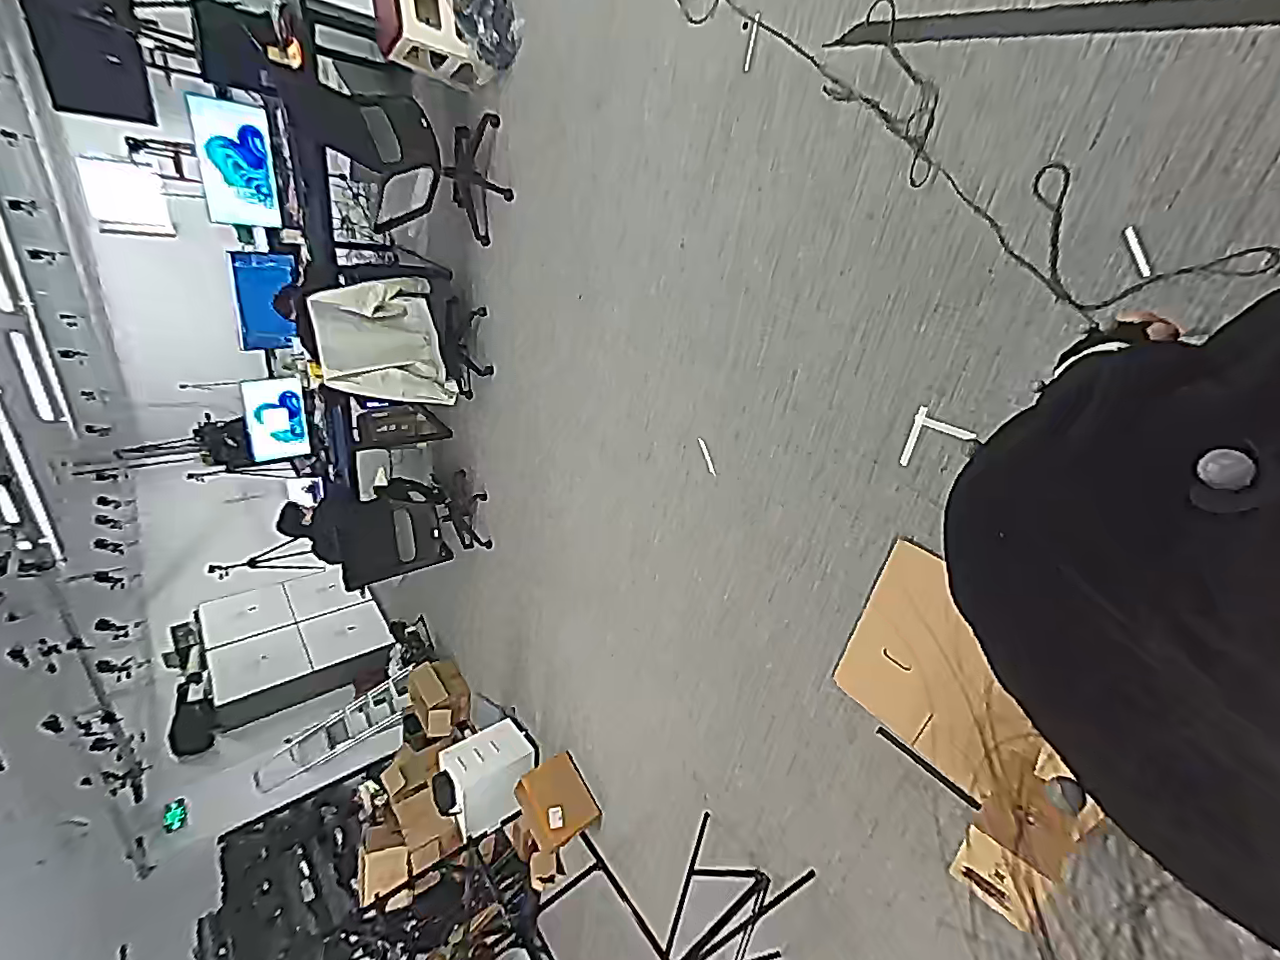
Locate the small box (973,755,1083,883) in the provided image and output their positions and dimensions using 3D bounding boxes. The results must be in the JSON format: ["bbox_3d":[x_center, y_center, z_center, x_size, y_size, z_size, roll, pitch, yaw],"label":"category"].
[{"bbox_3d":[0.977,0.843,1.360,0.168,0.176,0.179,25,119,44],"label":"small box"}]
